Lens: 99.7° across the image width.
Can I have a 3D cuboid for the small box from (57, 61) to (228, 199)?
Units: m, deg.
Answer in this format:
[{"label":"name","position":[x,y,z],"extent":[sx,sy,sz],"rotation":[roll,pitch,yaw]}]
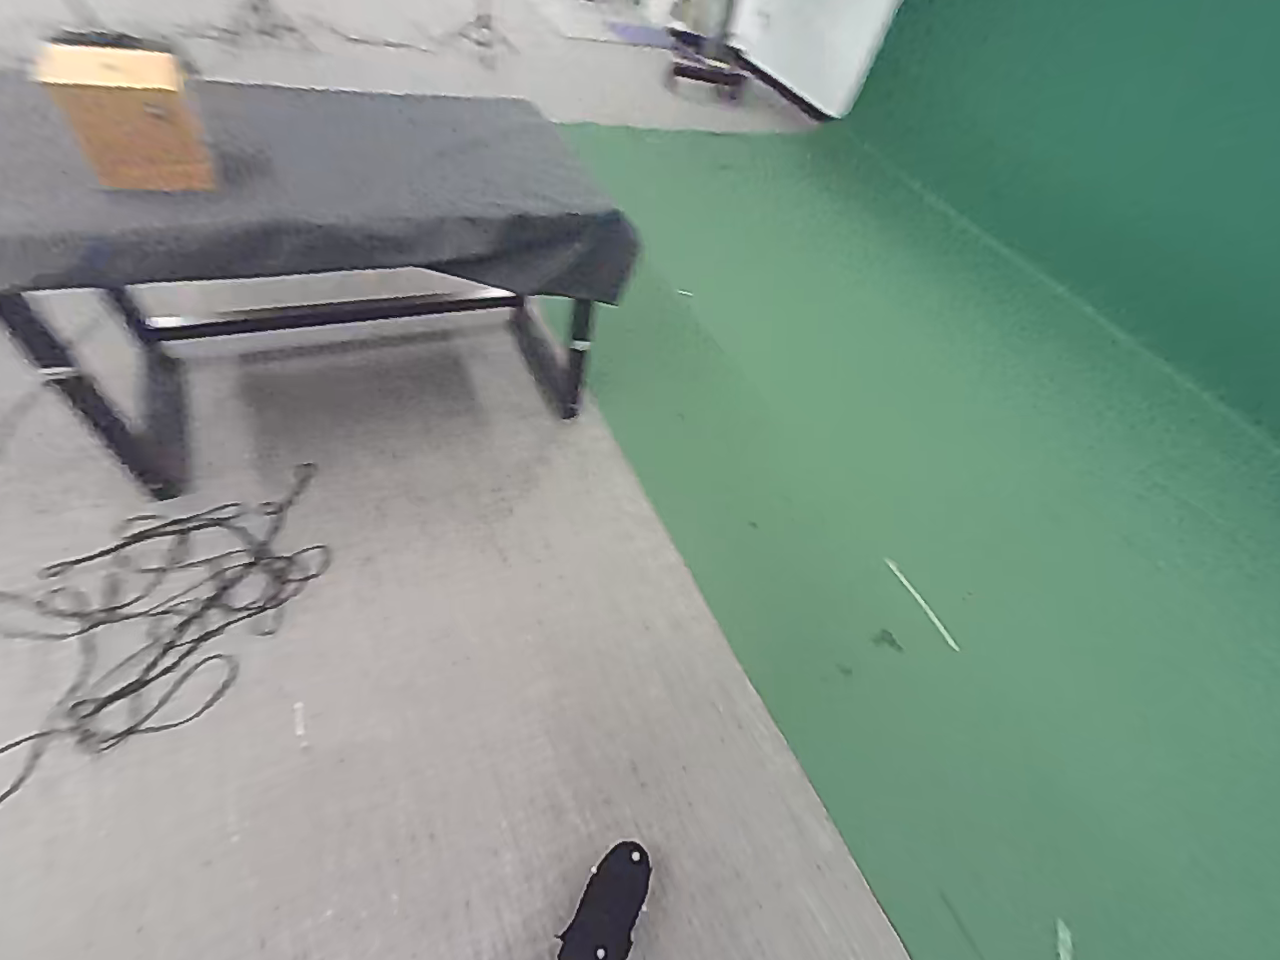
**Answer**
[{"label":"small box","position":[-0.893,-0.633,0.988],"extent":[0.179,0.176,0.168],"rotation":[-15,57,-25]}]
